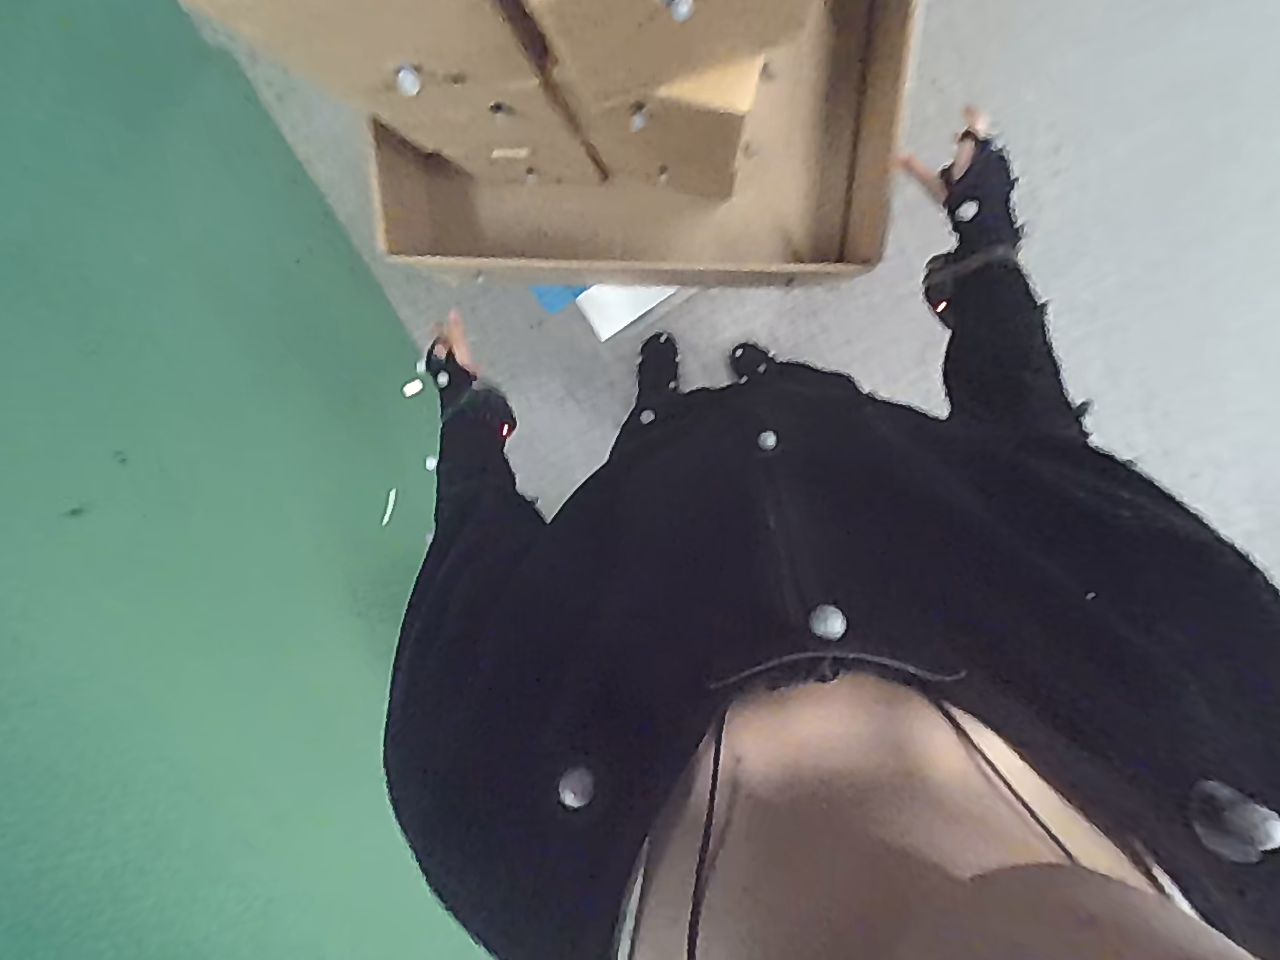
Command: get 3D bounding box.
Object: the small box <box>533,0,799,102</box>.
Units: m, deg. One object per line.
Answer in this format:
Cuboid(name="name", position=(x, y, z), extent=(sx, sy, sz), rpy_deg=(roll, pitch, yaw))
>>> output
Cuboid(name="small box", position=(0.009, -0.374, 0.334), extent=(0.179, 0.176, 0.168), rpy_deg=(-11, 104, 11))
